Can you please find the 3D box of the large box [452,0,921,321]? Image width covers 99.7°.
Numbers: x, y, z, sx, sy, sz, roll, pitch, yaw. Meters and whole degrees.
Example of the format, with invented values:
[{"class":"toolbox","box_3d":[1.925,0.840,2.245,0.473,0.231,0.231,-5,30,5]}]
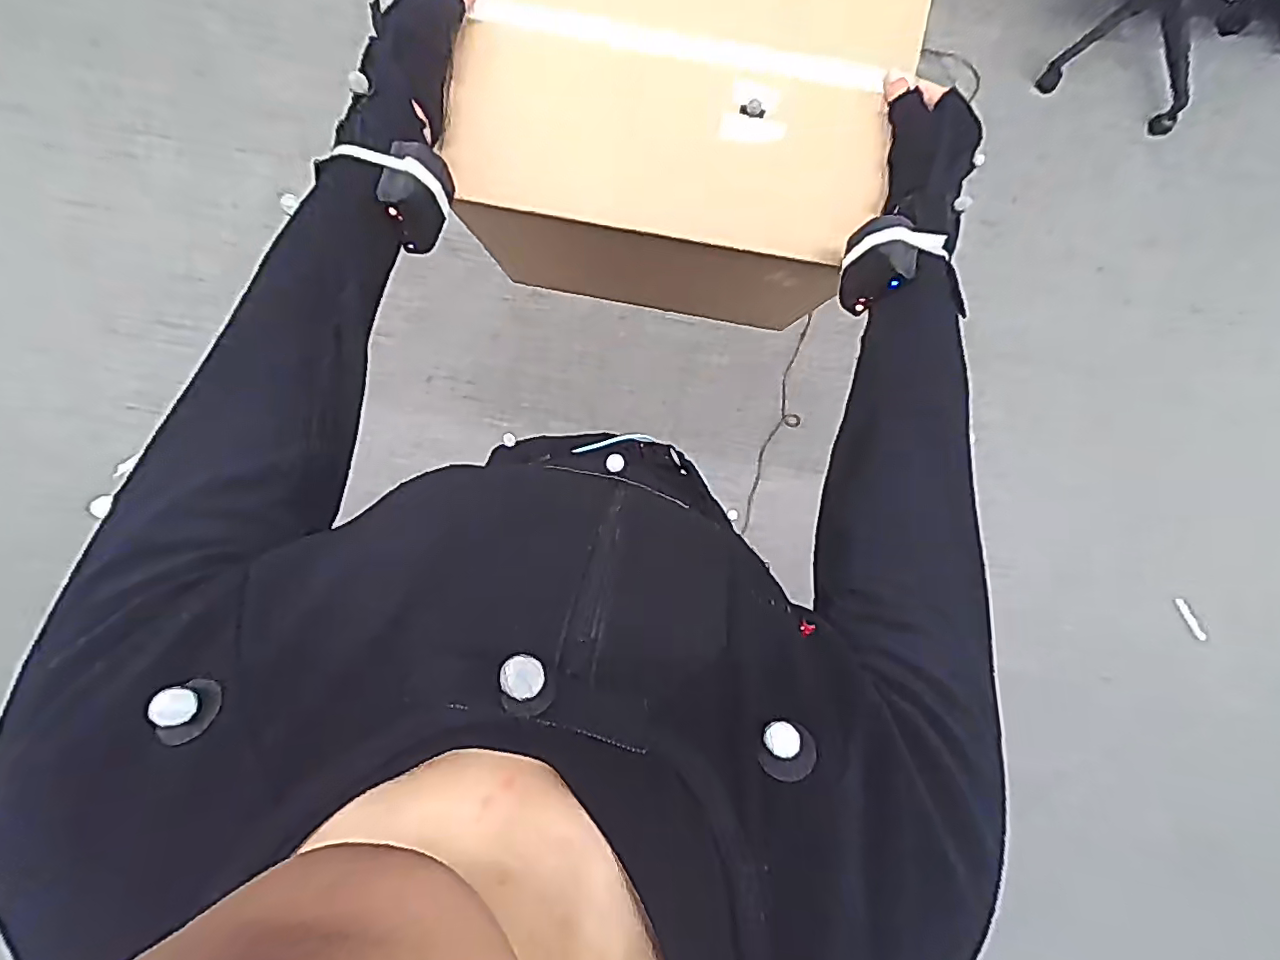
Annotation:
[{"class":"large box","box_3d":[0.039,-0.397,0.632,0.408,0.320,0.320,9,96,-2]}]
